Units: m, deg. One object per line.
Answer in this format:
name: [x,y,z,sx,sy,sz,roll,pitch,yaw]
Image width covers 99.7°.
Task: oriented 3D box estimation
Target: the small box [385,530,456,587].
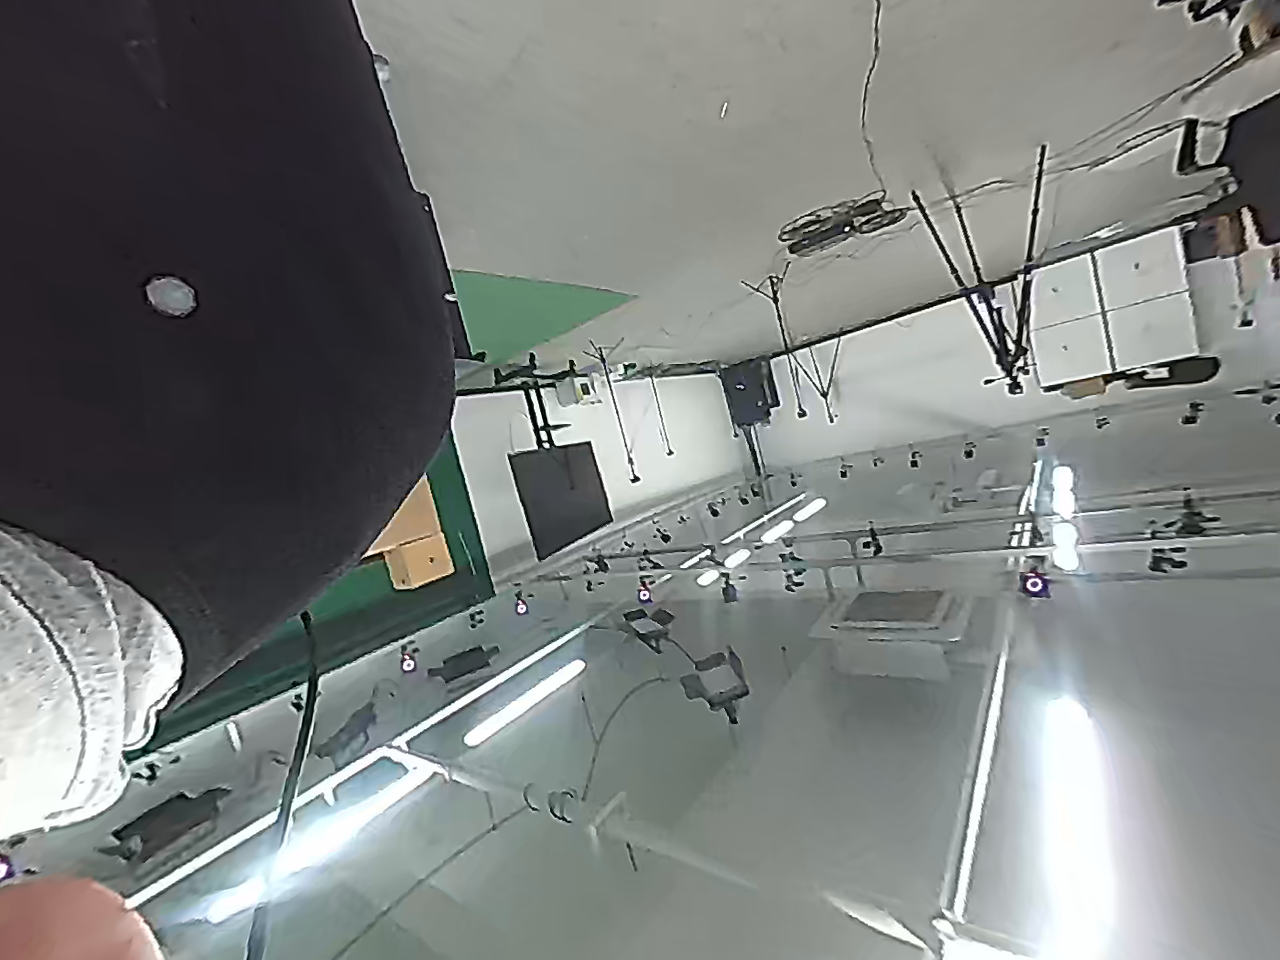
small box: [-0.856,0.304,2.107,0.168,0.176,0.179,-13,-174,42]
